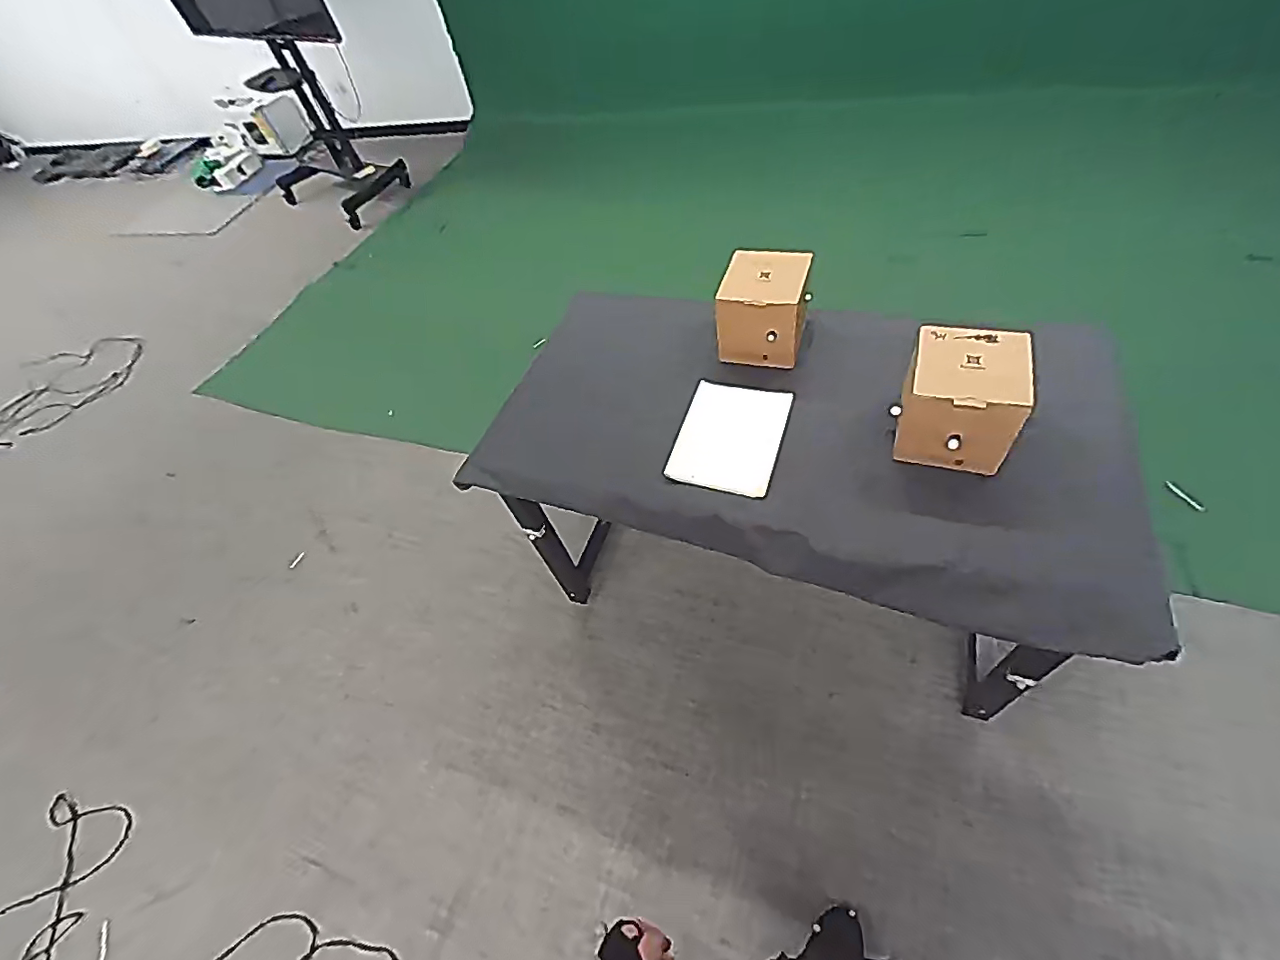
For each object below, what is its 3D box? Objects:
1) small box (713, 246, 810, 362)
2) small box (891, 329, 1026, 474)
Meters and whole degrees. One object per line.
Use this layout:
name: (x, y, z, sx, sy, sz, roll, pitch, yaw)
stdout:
small box: (0.262, -0.375, 1.160, 0.168, 0.176, 0.179, 11, 56, 18)
small box: (0.544, -0.134, 0.938, 0.168, 0.176, 0.179, 12, 58, 20)
